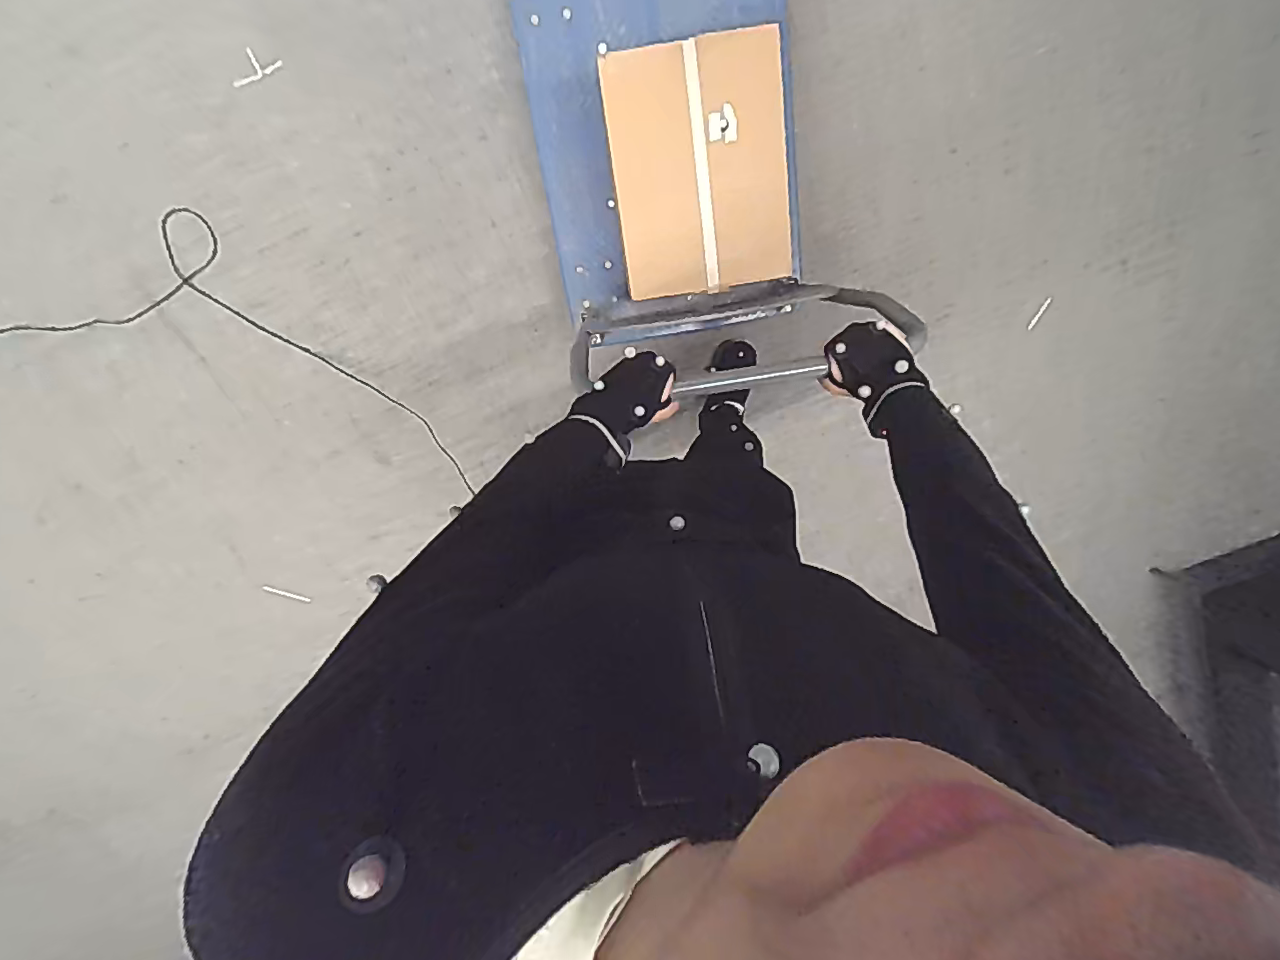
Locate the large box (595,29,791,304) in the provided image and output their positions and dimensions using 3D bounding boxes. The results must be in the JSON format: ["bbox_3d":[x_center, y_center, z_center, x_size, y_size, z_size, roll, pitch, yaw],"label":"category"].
[{"bbox_3d":[0.103,-0.598,1.120,0.320,0.320,0.408,-9,107,1],"label":"large box"}]
